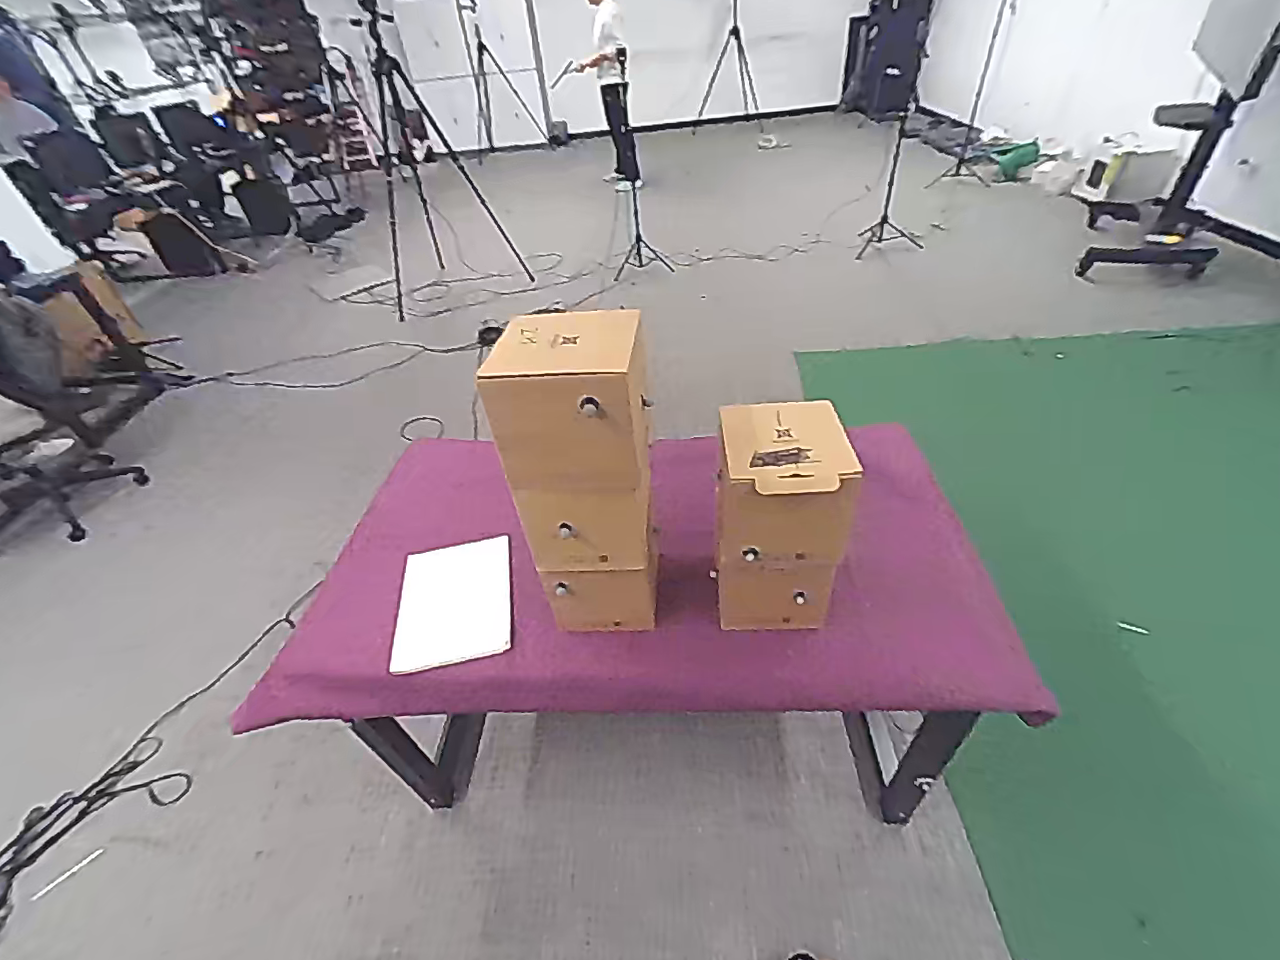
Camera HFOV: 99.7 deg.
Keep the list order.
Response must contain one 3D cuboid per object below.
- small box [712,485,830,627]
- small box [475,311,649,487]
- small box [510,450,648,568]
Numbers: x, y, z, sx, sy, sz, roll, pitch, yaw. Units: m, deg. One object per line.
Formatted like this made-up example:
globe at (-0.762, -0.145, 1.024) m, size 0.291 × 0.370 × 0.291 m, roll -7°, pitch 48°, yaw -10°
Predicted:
small box at (0.207, 0.128, 0.900) m, size 0.168 × 0.176 × 0.179 m, roll -1°, pitch 40°, yaw 5°
small box at (-0.084, -0.103, 0.701) m, size 0.179 × 0.176 × 0.168 m, roll -1°, pitch 39°, yaw 8°
small box at (-0.078, 0.019, 0.812) m, size 0.168 × 0.176 × 0.179 m, roll -2°, pitch 40°, yaw 6°
